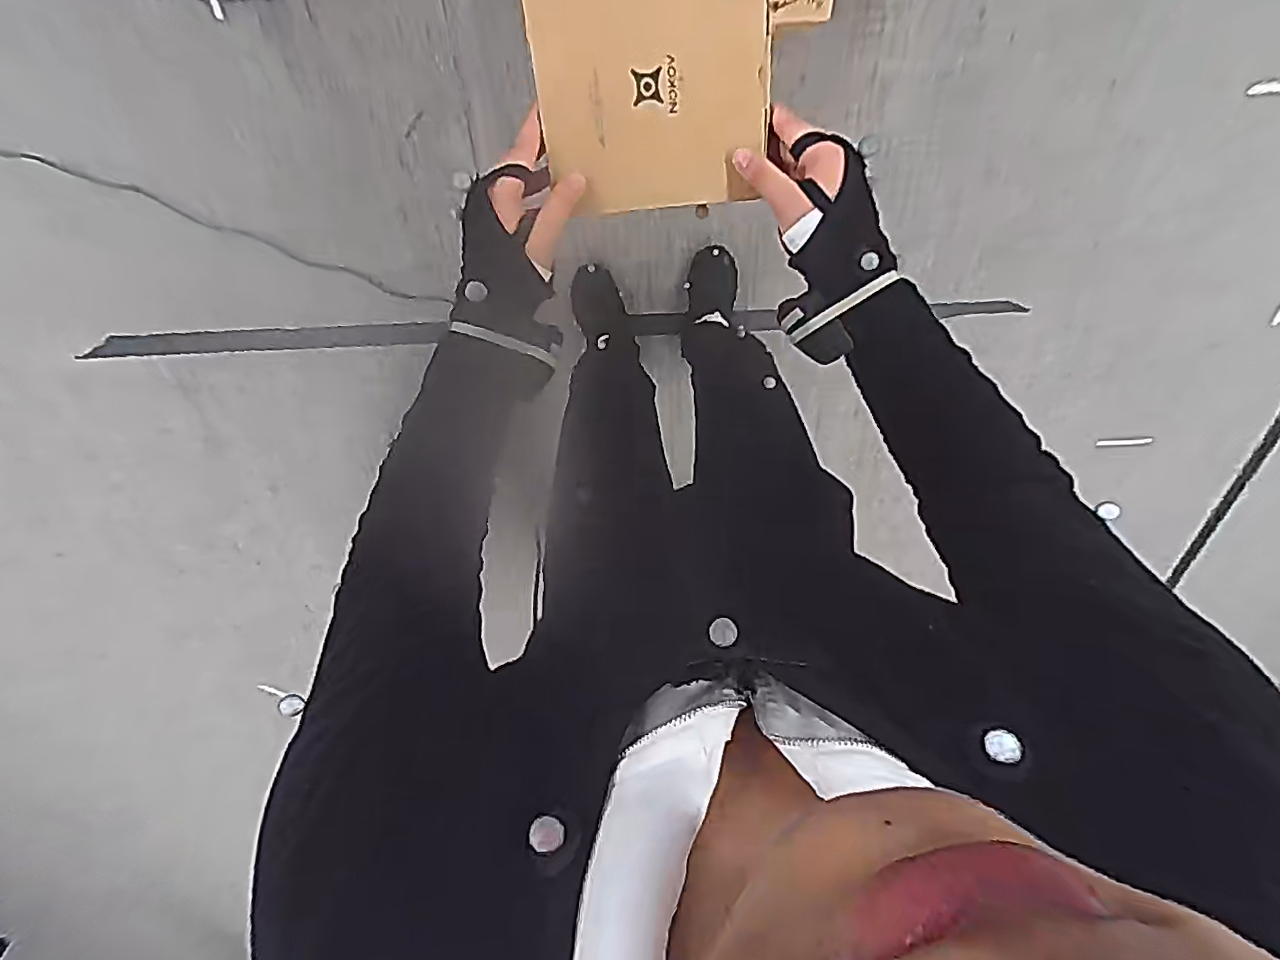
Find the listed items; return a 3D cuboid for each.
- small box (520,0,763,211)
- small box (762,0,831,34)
[{"bbox_3d":[0.004,-0.341,0.478,0.179,0.176,0.168,-5,118,2],"label":"small box"},{"bbox_3d":[0.205,-0.830,0.856,0.168,0.176,0.179,-3,124,1],"label":"small box"}]
